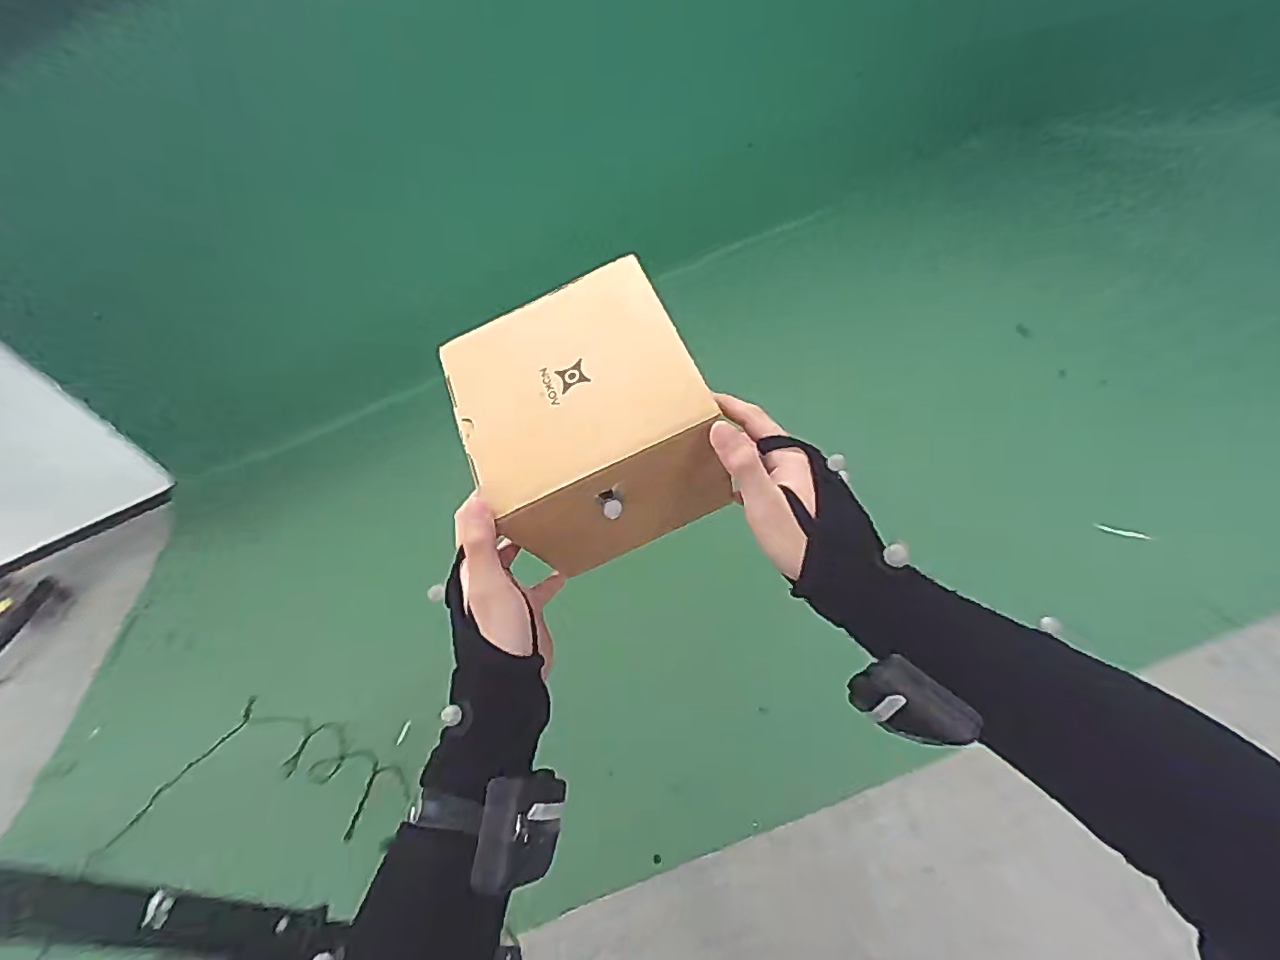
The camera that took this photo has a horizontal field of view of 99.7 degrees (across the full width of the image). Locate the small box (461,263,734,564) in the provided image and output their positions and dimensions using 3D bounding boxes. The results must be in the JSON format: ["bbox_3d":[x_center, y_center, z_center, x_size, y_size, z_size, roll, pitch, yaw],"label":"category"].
[{"bbox_3d":[-0.026,-0.046,0.481,0.179,0.176,0.168,-25,63,4],"label":"small box"}]
